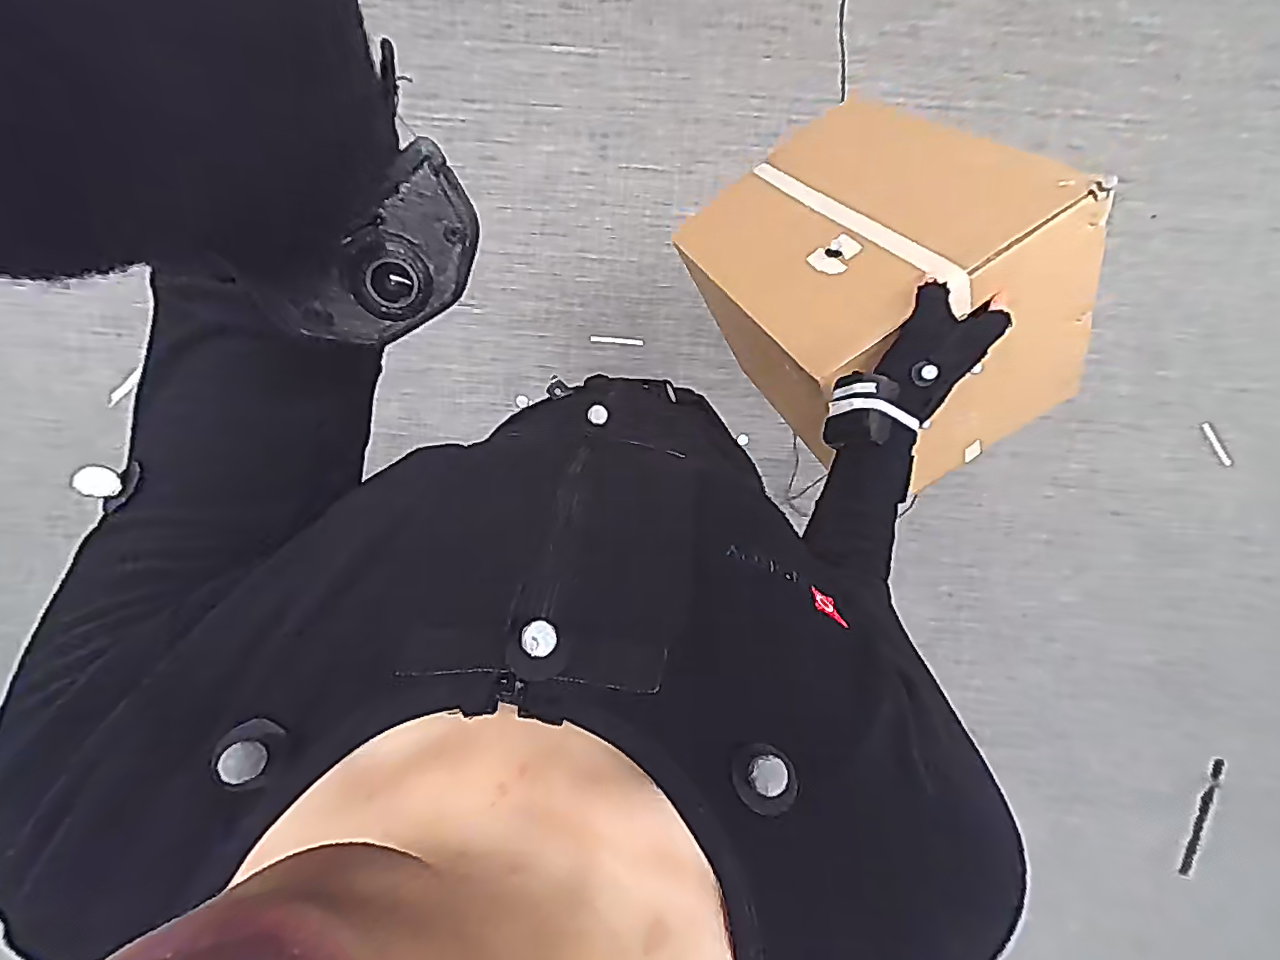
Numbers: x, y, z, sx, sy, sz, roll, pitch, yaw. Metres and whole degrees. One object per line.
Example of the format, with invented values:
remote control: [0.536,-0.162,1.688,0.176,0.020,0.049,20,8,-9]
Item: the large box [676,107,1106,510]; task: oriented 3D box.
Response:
large box: [0.310,-0.239,0.761,0.320,0.408,0.320,-35,138,9]
